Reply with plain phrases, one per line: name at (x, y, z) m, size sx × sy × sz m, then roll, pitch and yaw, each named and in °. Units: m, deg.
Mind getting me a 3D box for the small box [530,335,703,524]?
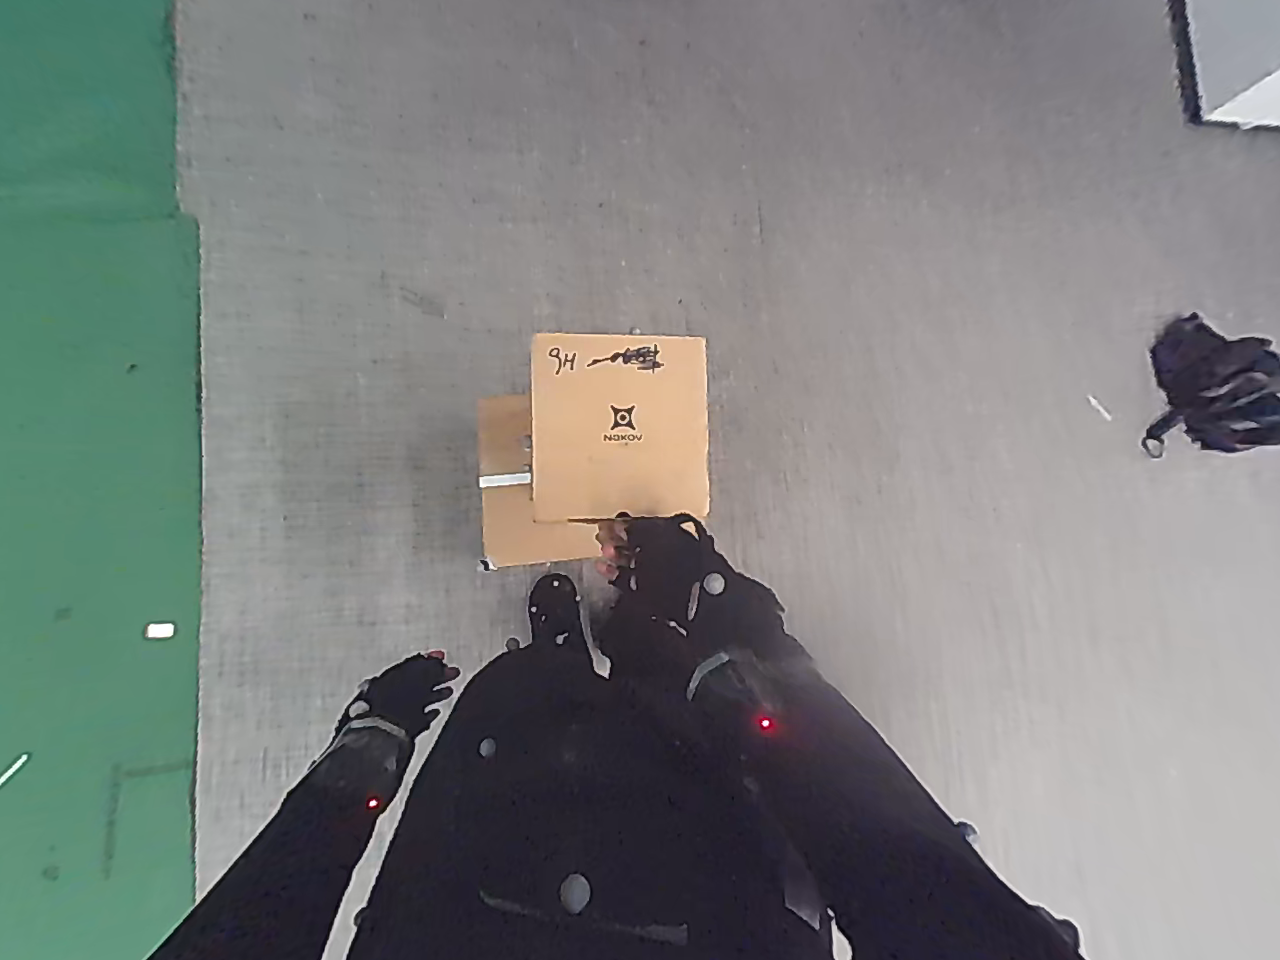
small box at (-0.032, -0.047, 0.587) m, size 0.168 × 0.176 × 0.179 m, roll -1°, pitch 89°, yaw -9°
